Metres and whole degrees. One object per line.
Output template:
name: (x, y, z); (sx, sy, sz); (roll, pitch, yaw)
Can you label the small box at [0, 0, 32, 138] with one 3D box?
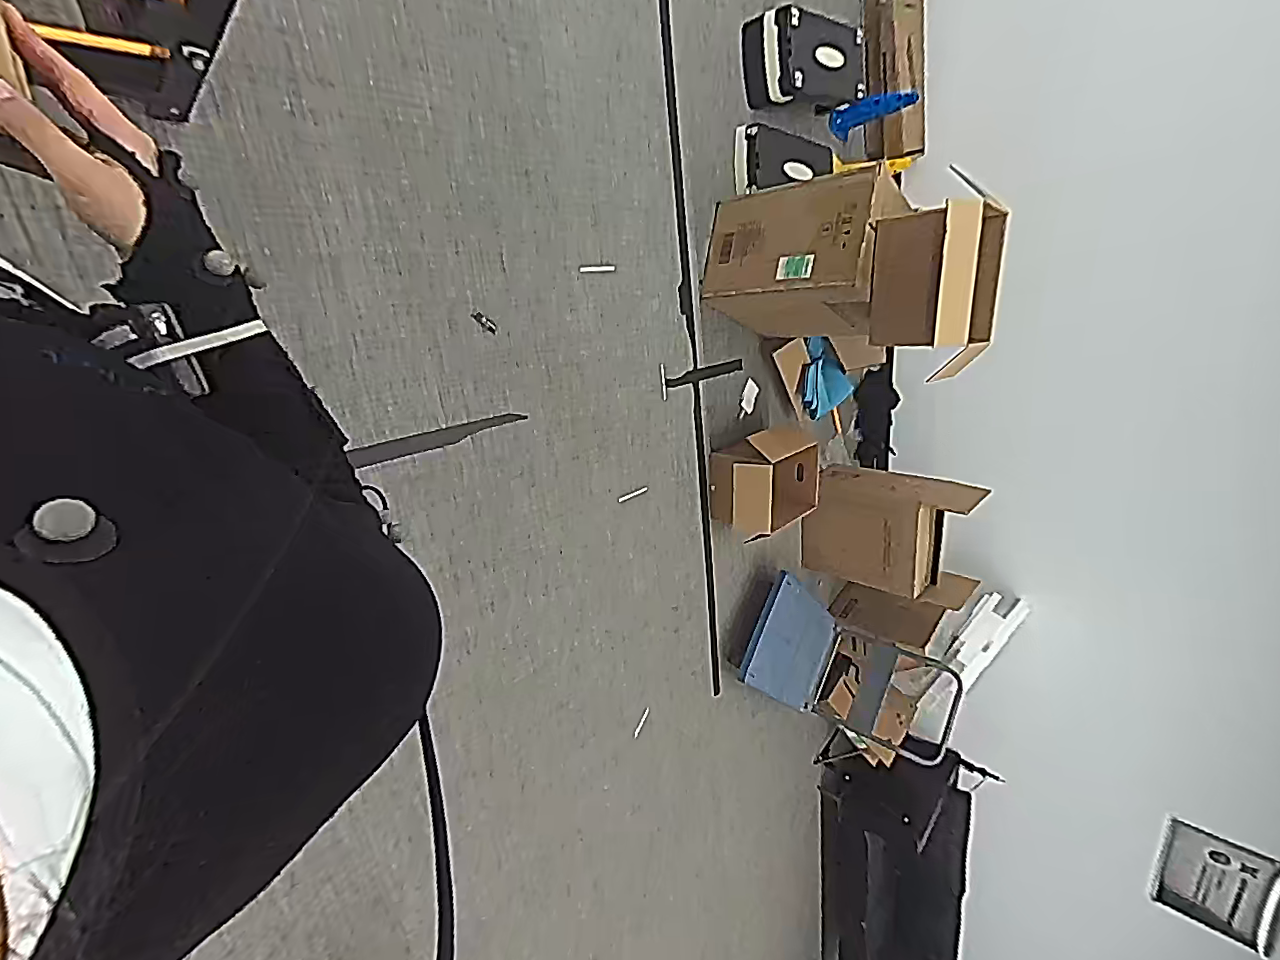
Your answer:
small box: (-0.430, -0.283, 0.246); (0.179, 0.176, 0.168); (-14, 132, -42)
